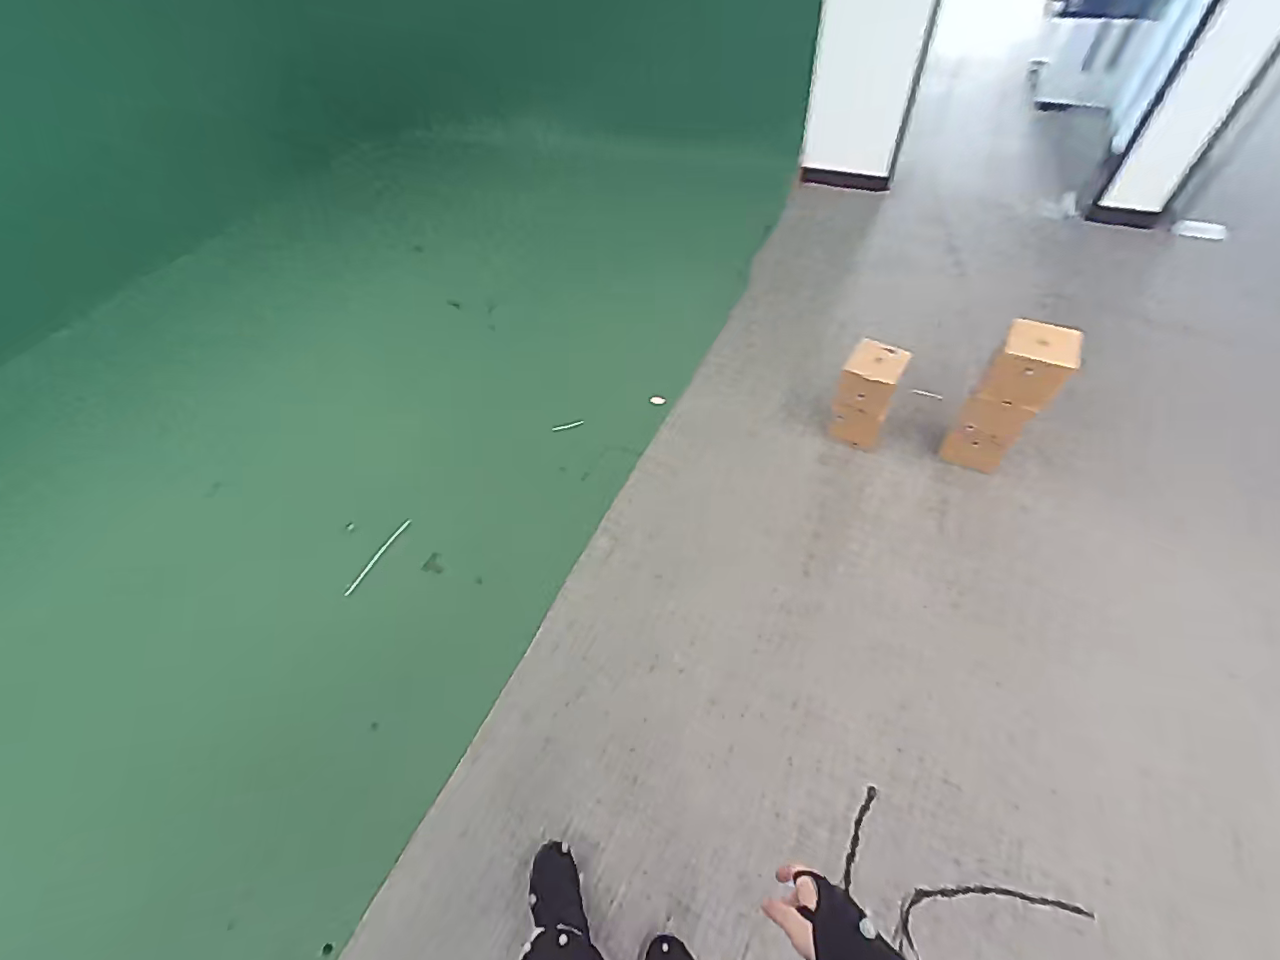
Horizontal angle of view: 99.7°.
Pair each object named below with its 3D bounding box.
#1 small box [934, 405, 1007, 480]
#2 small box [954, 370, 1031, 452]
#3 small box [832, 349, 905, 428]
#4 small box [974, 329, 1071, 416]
[{"bbox_3d":[1.142,-0.124,1.861,0.179,0.176,0.168,20,59,19],"label":"small box"},{"bbox_3d":[1.129,-0.217,1.727,0.168,0.176,0.179,21,58,20],"label":"small box"},{"bbox_3d":[0.766,-0.307,1.832,0.168,0.176,0.179,26,61,22],"label":"small box"},{"bbox_3d":[1.124,-0.312,1.594,0.179,0.176,0.168,20,58,20],"label":"small box"}]
